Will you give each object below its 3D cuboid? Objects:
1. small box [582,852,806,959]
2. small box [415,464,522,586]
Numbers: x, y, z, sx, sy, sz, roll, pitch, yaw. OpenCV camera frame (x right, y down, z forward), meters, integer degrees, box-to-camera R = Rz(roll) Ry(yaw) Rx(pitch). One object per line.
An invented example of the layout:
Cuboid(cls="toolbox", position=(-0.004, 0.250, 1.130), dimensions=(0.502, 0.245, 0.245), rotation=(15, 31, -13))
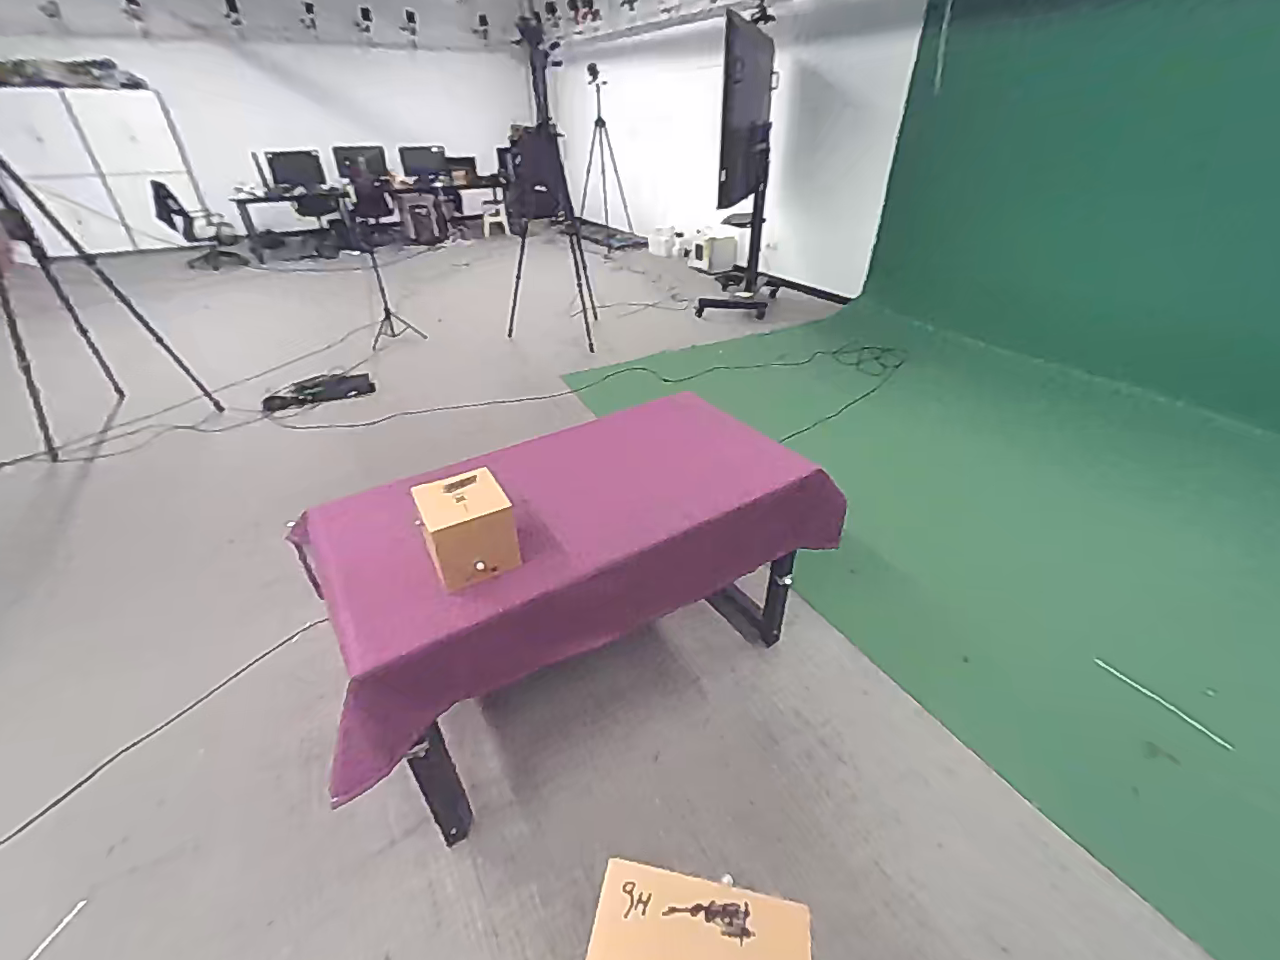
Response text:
Cuboid(cls="small box", position=(0.036, 0.440, 0.428), dimensions=(0.168, 0.176, 0.179), rotation=(6, 39, 10))
Cuboid(cls="small box", position=(-0.366, 0.093, 1.157), dimensions=(0.168, 0.176, 0.179), rotation=(-19, 39, -25))
